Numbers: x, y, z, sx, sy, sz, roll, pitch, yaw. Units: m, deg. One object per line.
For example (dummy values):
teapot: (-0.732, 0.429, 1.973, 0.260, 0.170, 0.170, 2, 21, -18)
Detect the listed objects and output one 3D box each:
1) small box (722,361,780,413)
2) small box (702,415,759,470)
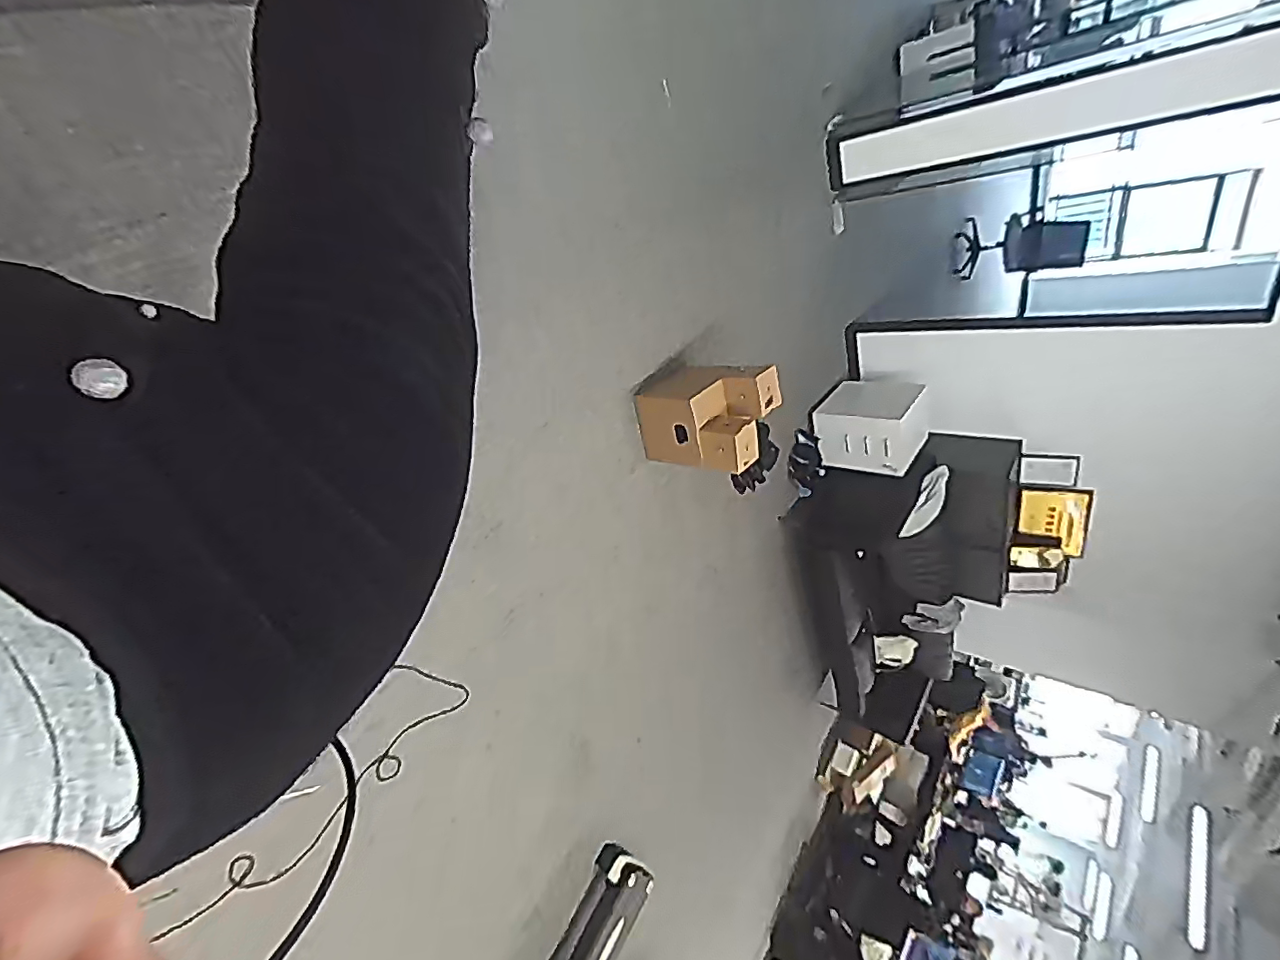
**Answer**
small box: (0.470, -0.395, 2.298, 0.168, 0.176, 0.179, -37, 121, -39)
small box: (0.372, -0.161, 2.229, 0.168, 0.176, 0.179, -38, 125, -39)
